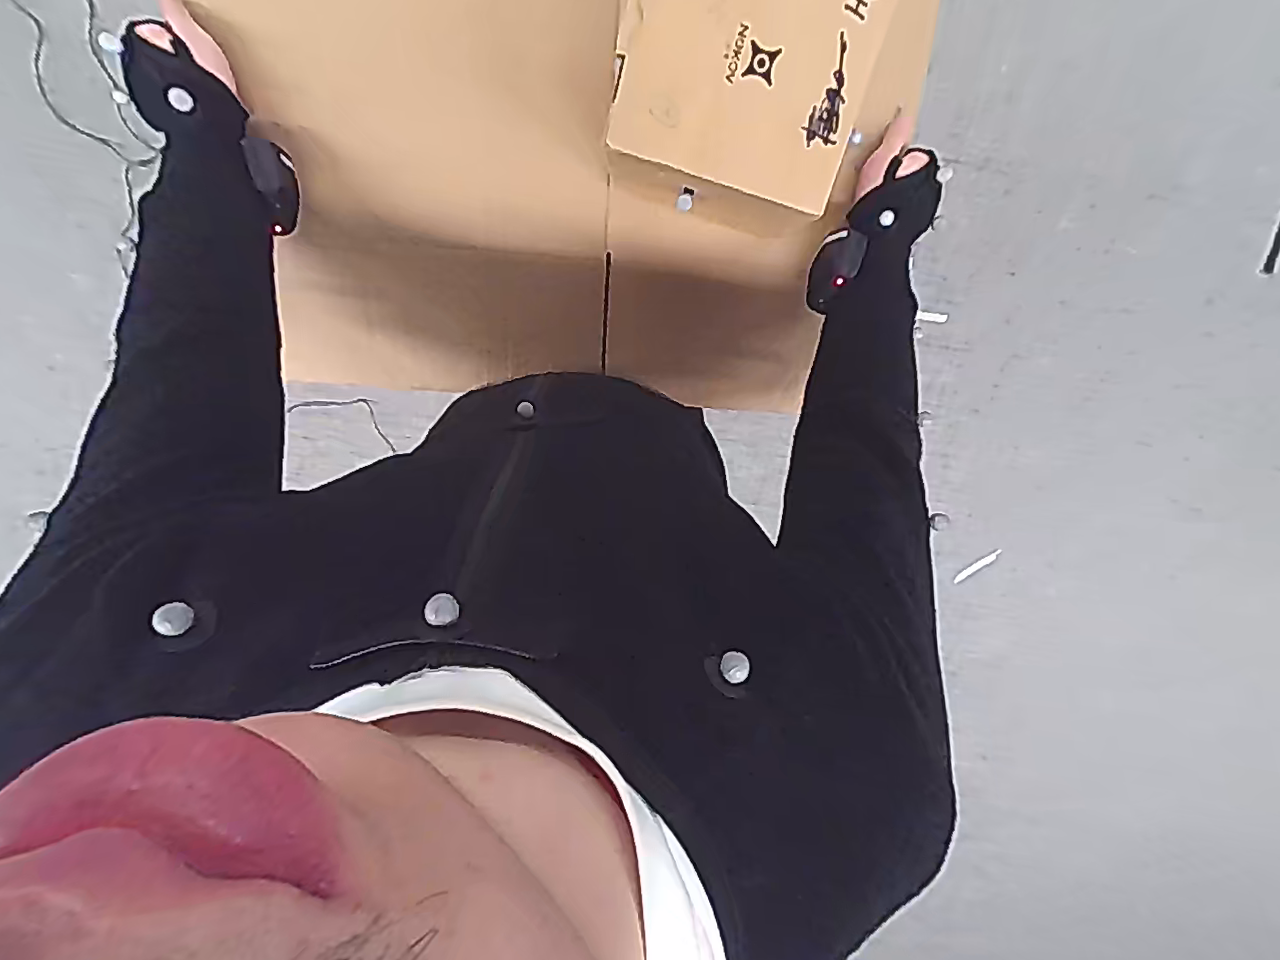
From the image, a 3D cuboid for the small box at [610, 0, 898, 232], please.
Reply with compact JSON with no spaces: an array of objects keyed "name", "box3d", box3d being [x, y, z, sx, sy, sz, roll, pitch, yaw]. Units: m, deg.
[{"name":"small box","box3d":[0.084,-0.329,0.466,0.179,0.176,0.168,16,107,-4]}]
